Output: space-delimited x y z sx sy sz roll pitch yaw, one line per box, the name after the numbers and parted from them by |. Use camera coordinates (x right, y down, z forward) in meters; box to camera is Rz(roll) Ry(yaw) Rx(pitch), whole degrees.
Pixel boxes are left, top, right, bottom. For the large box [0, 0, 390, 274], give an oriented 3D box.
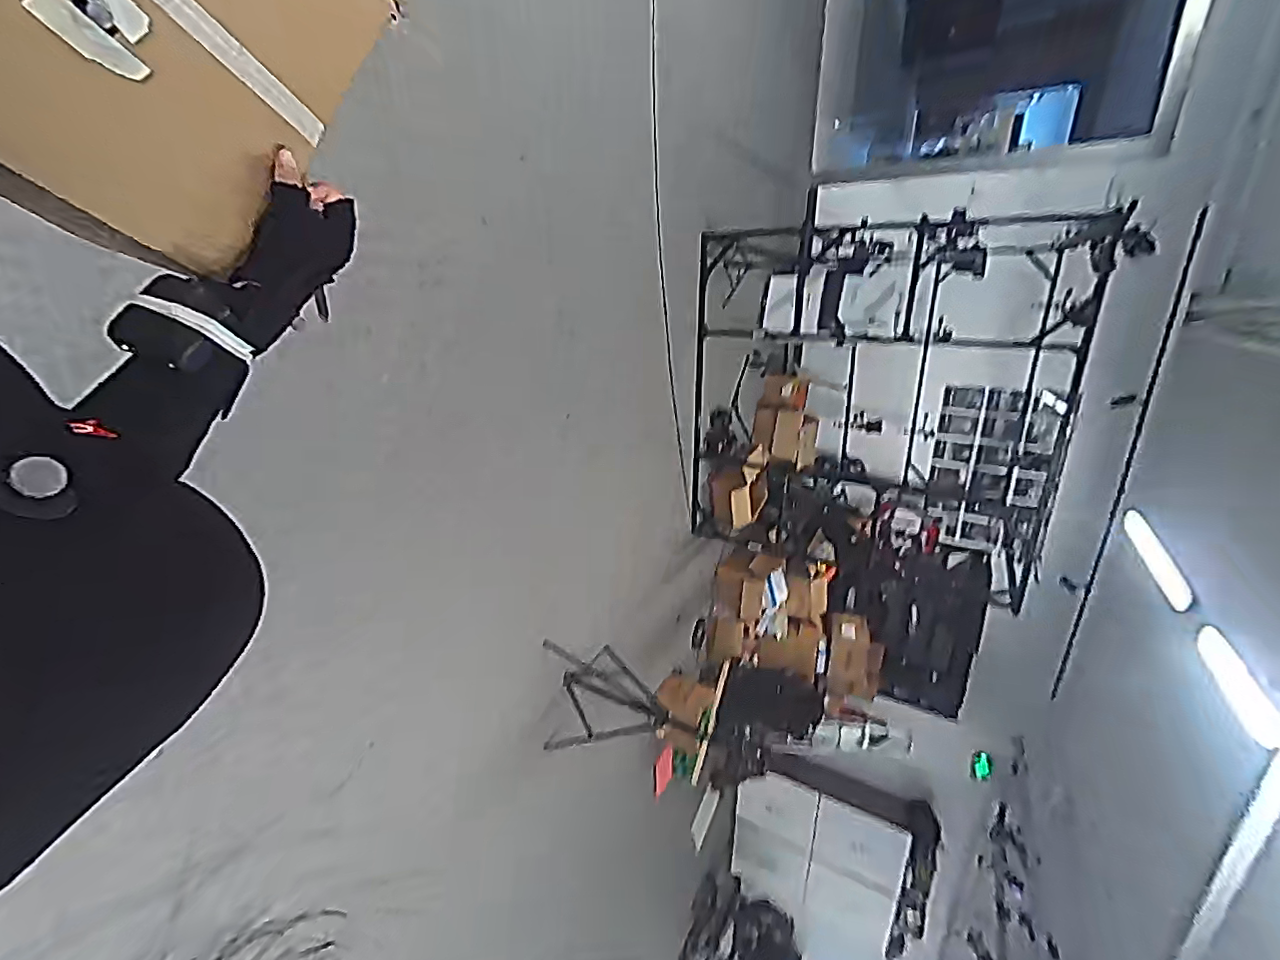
-0.487 -0.413 0.373 0.320 0.320 0.408 -64 153 -6 | large box
